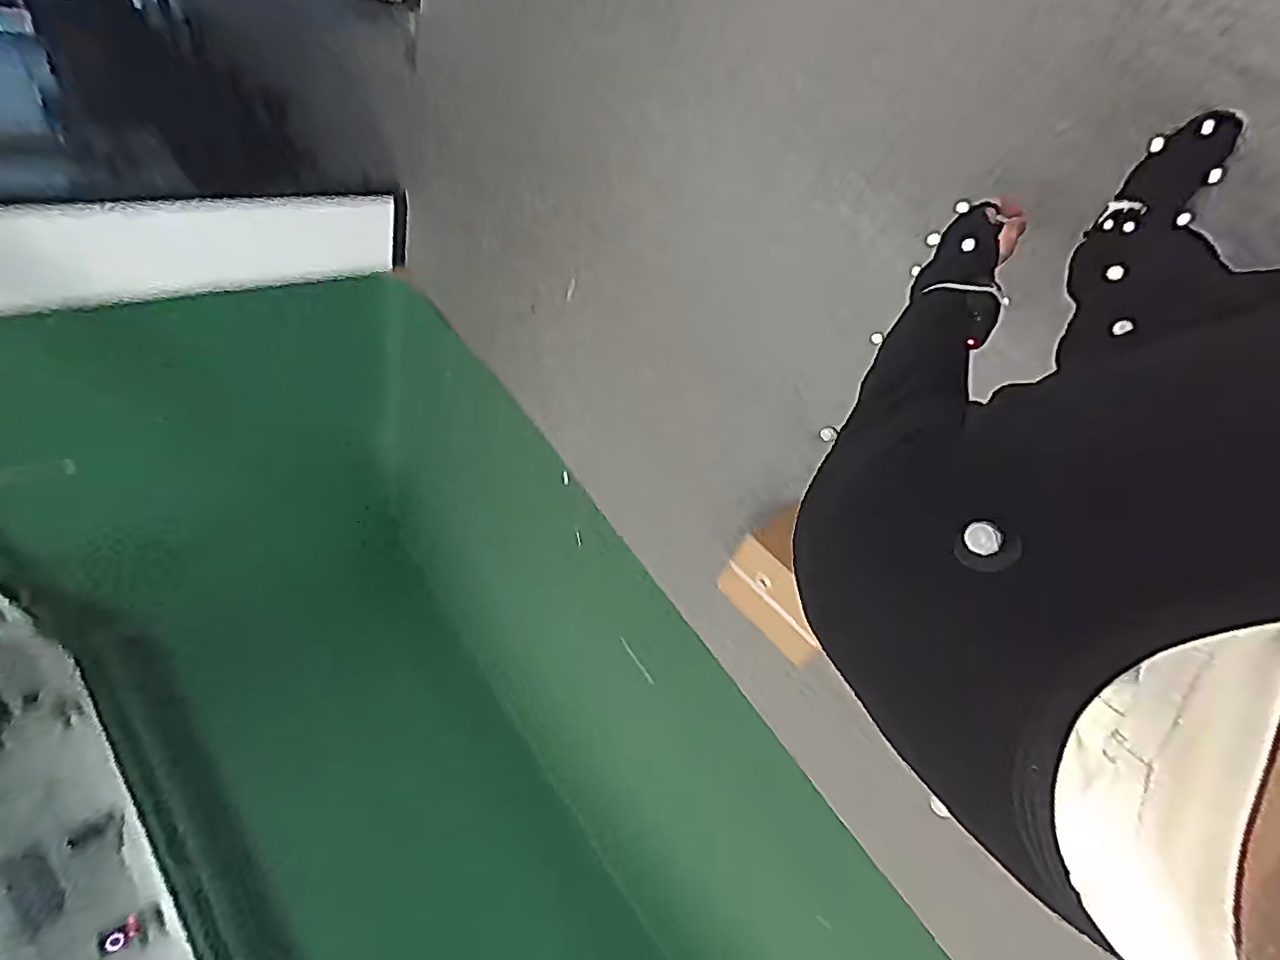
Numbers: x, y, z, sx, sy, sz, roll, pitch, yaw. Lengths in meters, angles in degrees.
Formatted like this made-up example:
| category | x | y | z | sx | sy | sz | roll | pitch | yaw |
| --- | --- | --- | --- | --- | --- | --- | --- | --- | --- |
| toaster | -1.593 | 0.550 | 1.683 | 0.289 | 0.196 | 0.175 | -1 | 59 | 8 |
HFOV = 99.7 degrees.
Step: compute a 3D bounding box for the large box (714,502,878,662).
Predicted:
| category | x | y | z | sx | sy | sz | roll | pitch | yaw |
| --- | --- | --- | --- | --- | --- | --- | --- | --- | --- |
| large box | 0.550 | 0.354 | 1.937 | 0.408 | 0.320 | 0.320 | 46 | 137 | 23 |
